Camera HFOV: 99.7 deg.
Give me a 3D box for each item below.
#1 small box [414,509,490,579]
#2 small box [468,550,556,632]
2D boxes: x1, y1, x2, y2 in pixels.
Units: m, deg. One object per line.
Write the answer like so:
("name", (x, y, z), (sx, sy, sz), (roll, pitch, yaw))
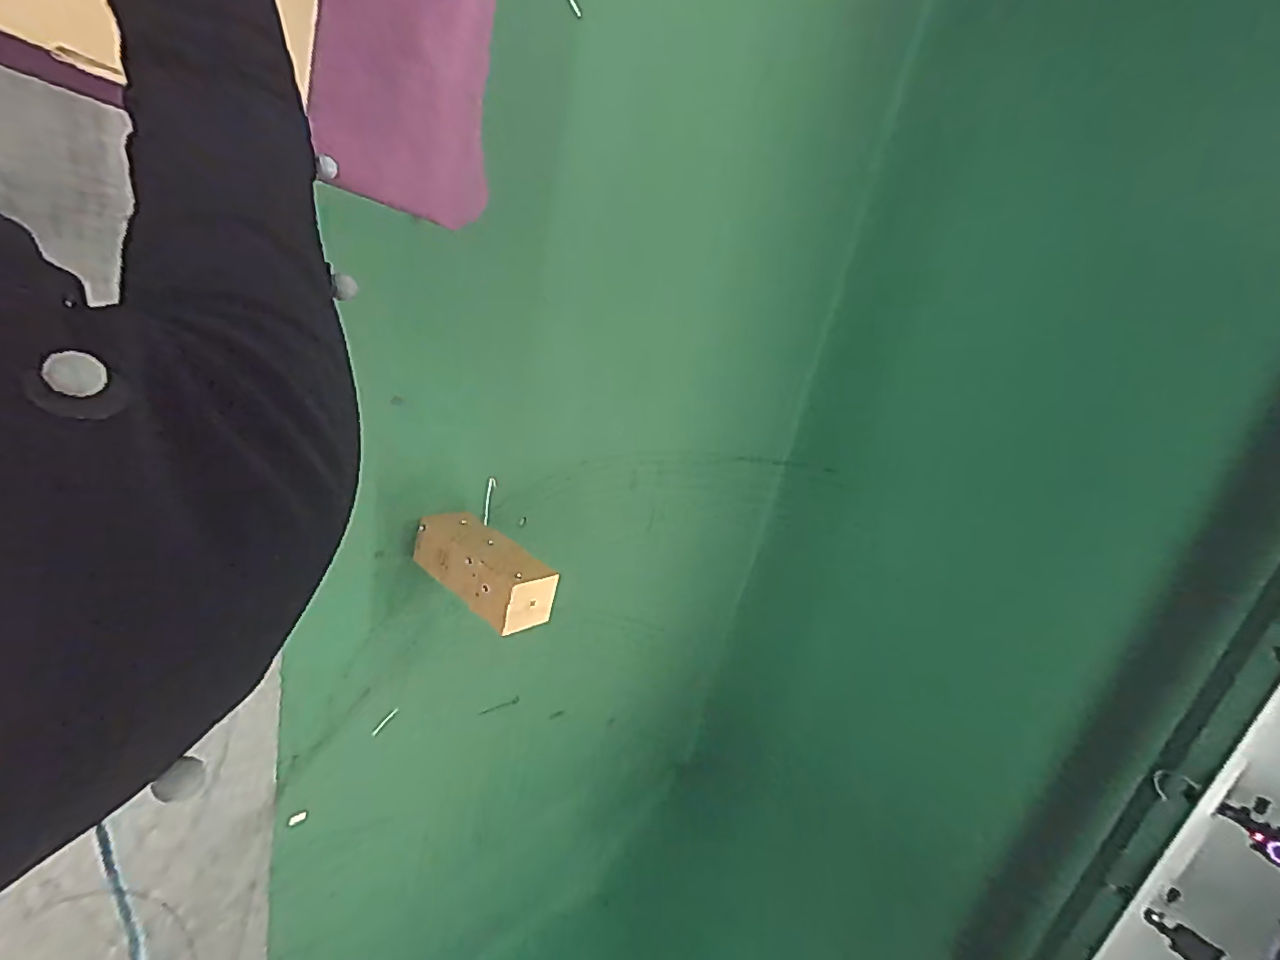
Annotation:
("small box", (-0.633, 0.208, 1.807), (0.179, 0.176, 0.168), (-6, 115, -50))
("small box", (-0.385, 0.324, 1.626), (0.179, 0.176, 0.168), (-5, 115, -52))
